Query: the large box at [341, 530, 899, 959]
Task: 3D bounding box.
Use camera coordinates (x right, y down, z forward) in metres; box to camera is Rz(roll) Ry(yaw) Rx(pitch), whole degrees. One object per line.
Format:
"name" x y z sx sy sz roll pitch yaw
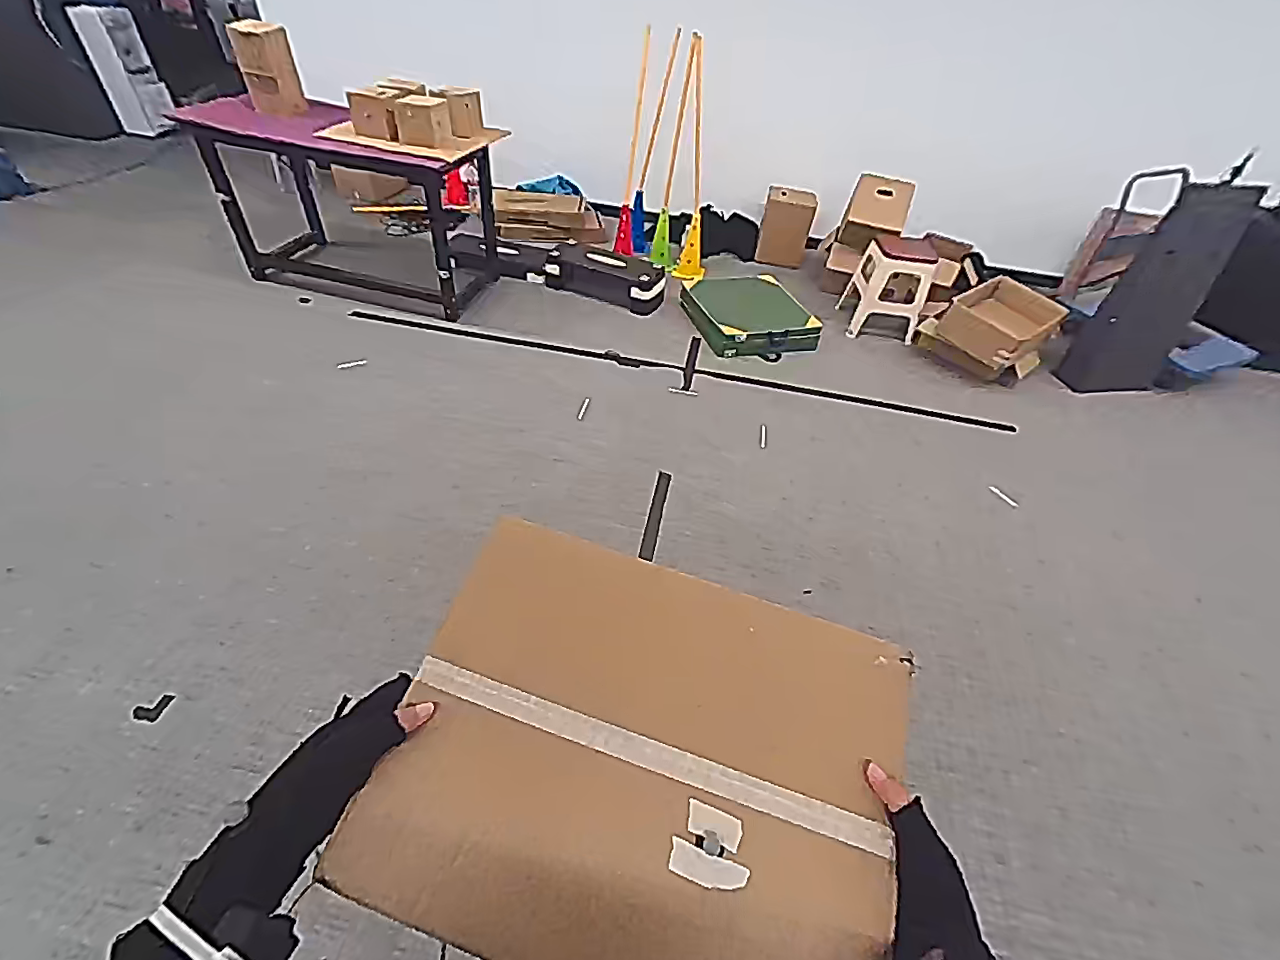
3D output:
"large box" 0.000 0.302 0.581 0.408 0.320 0.320 18 61 7
